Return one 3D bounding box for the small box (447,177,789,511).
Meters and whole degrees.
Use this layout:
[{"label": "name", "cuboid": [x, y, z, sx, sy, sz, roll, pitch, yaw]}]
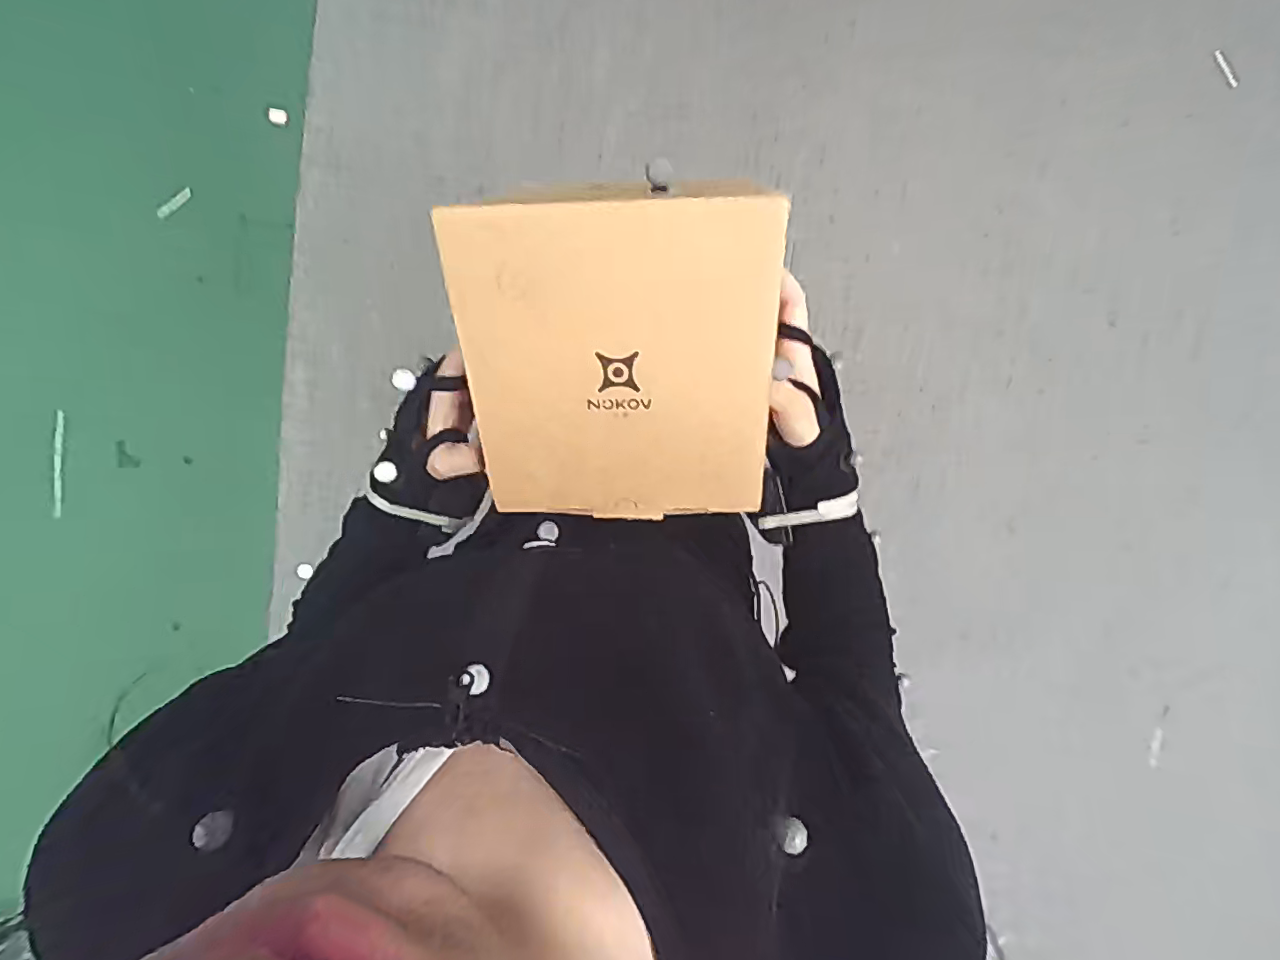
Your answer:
[{"label": "small box", "cuboid": [-0.006, -0.098, 0.364, 0.168, 0.176, 0.179, -1, 125, 4]}]
